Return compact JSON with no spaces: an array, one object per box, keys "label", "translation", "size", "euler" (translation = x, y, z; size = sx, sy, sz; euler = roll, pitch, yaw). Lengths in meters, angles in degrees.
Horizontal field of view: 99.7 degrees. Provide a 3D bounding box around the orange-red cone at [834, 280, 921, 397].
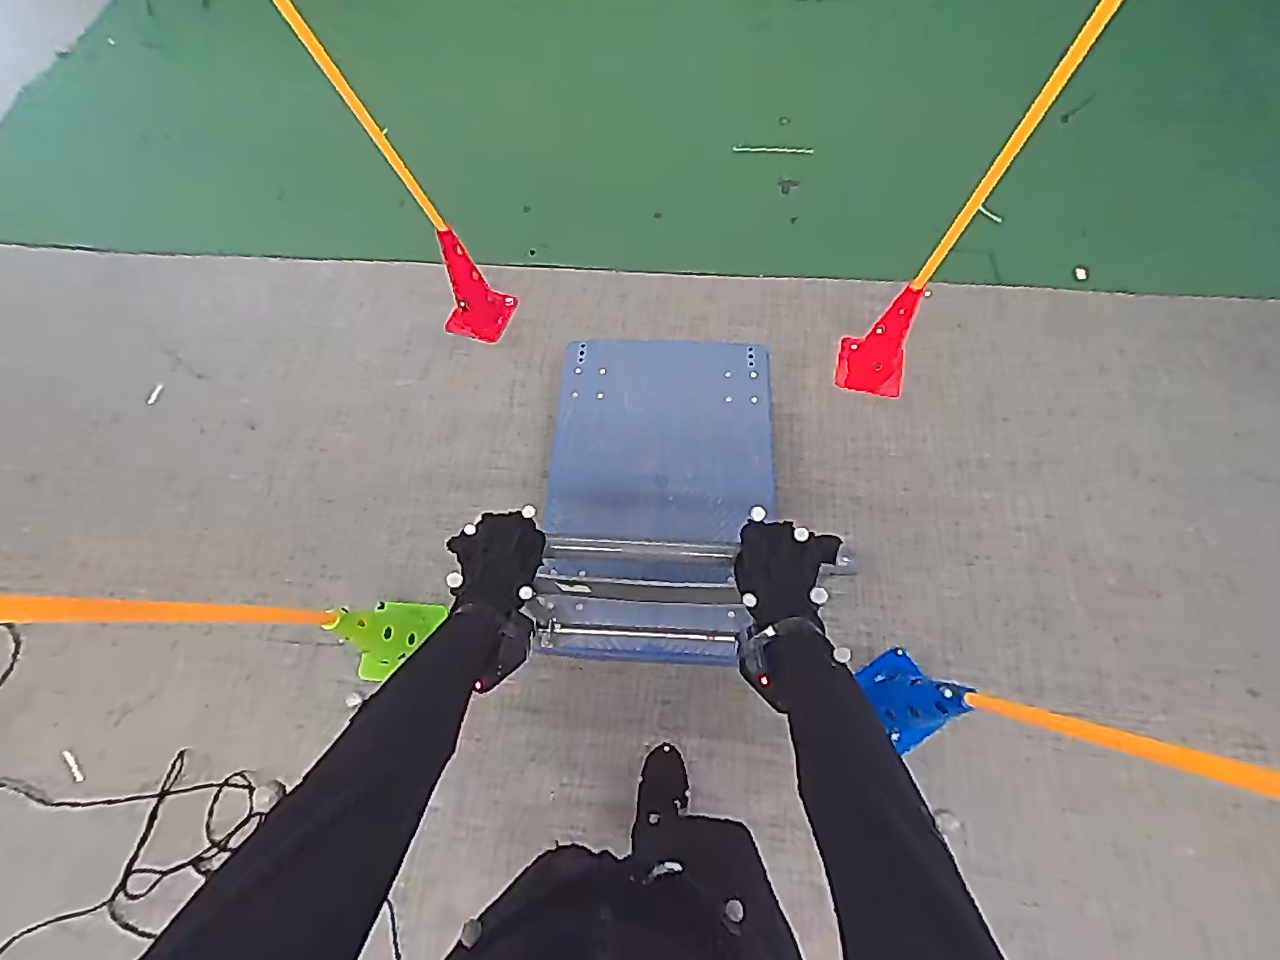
[{"label":"orange-red cone","translation":[0.710,-0.424,1.535],"size":[0.198,0.360,0.199],"euler":[14,69,10]}]
